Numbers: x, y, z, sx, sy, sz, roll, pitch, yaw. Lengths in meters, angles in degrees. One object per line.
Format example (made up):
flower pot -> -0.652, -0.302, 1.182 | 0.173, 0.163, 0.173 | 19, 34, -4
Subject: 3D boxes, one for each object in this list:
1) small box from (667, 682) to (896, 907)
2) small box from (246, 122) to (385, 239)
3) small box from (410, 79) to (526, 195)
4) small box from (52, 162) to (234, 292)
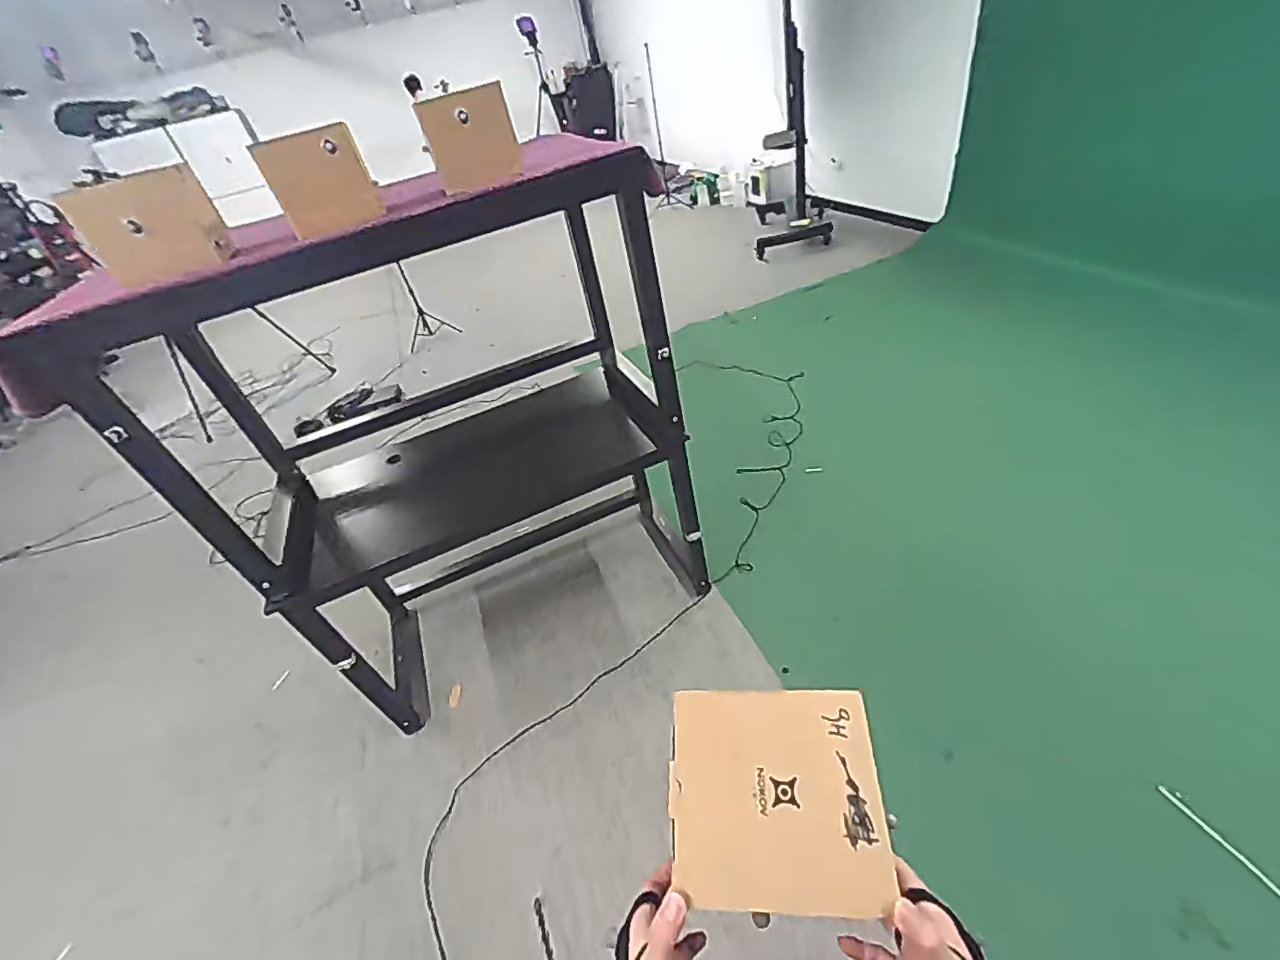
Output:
small box -> 0.124, 0.303, 0.525 | 0.179, 0.176, 0.168 | -4, 55, 8
small box -> -0.640, -0.603, 1.089 | 0.179, 0.176, 0.168 | -23, 39, -11
small box -> -0.361, -0.719, 1.139 | 0.179, 0.176, 0.168 | -21, 39, -8
small box -> -0.917, -0.480, 1.024 | 0.179, 0.176, 0.168 | -25, 40, -12
